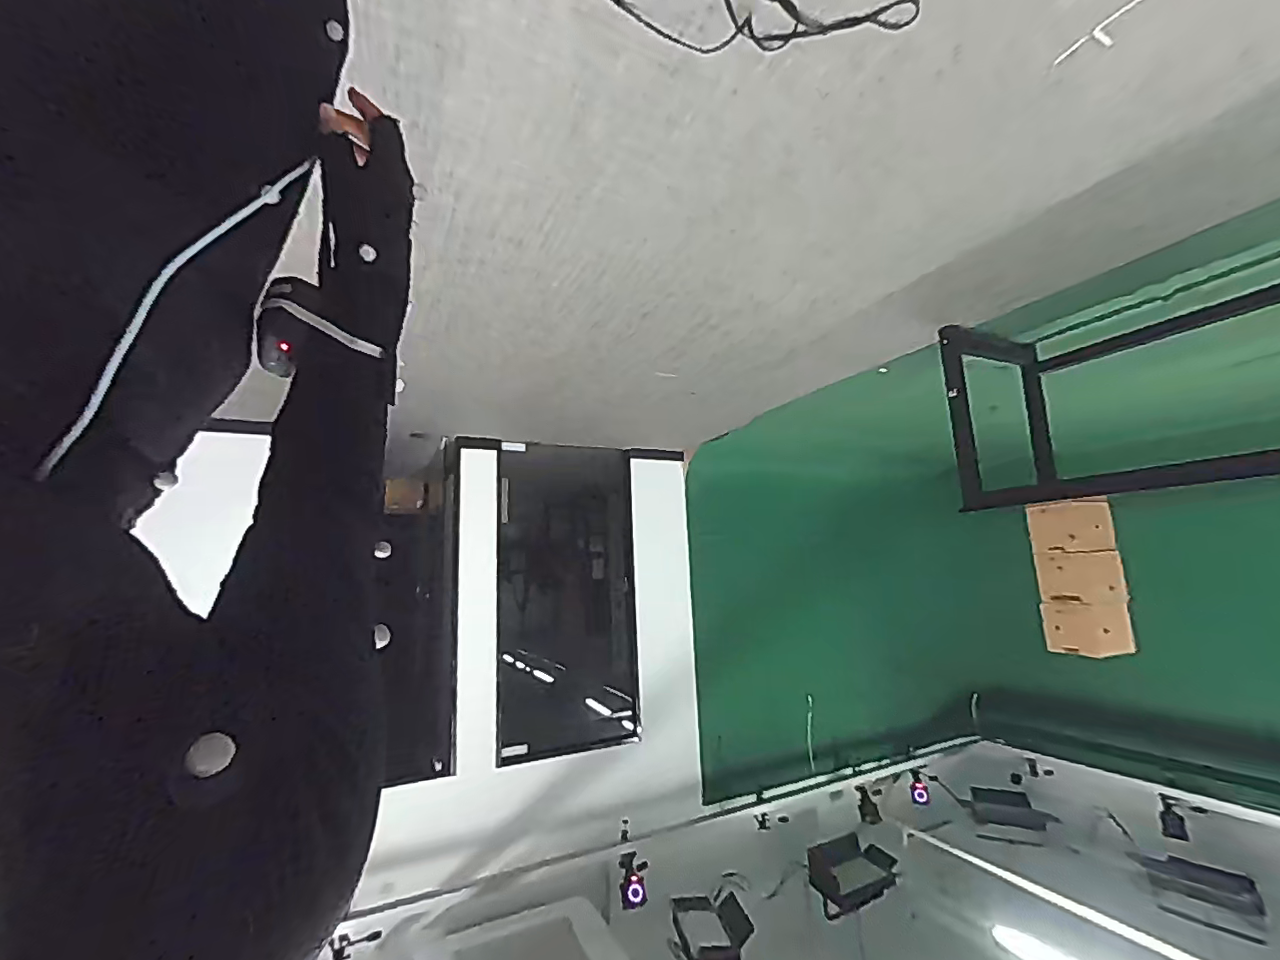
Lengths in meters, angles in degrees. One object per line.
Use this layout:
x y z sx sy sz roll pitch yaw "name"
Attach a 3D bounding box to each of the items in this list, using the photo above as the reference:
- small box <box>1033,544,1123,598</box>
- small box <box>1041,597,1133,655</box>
1.489 0.307 1.843 0.179 0.176 0.168 0 170 -19 "small box"
1.497 0.485 1.821 0.179 0.176 0.168 -1 171 -19 "small box"
